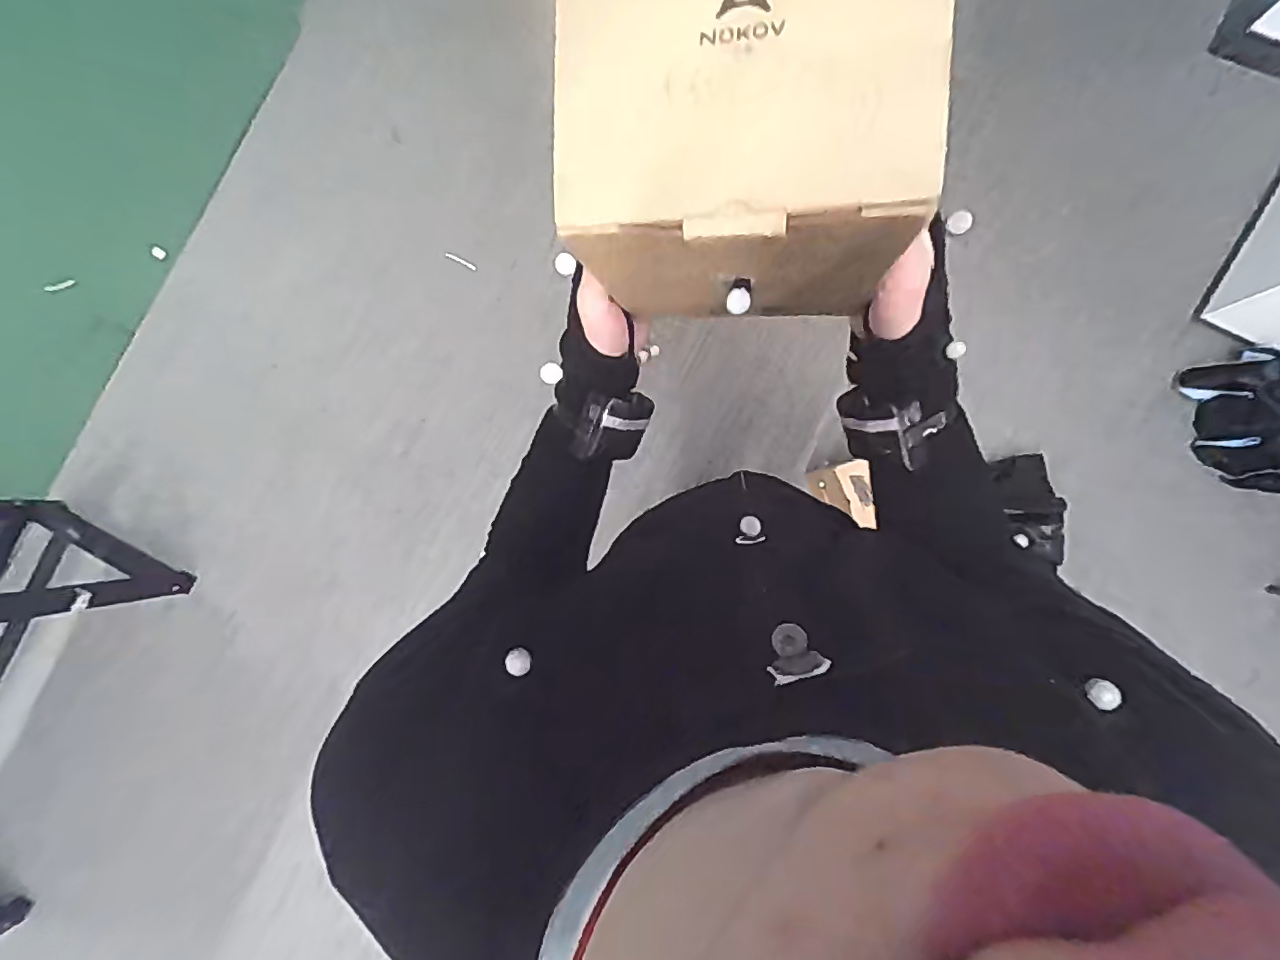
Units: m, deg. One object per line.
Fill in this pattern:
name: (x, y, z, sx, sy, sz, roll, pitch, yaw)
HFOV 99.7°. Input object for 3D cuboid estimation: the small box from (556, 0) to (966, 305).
small box: (0.060, -0.200, 0.298, 0.168, 0.176, 0.179, 2, 95, 10)
